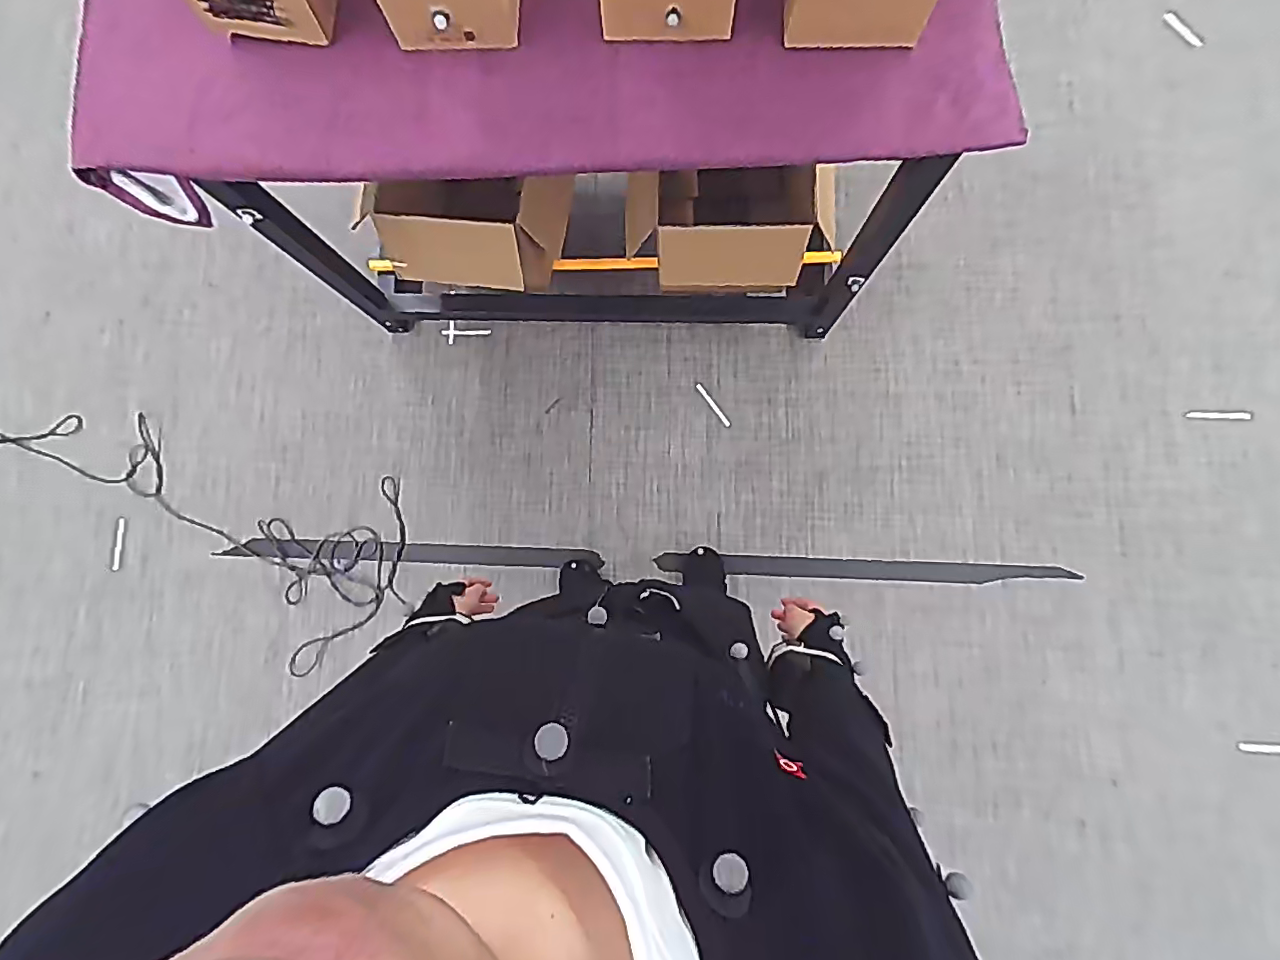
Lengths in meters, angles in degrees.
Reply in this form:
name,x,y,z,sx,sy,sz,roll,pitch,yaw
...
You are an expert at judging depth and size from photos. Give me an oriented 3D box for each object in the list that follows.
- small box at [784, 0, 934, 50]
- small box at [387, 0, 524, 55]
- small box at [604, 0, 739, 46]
name,x,y,z,sx,sy,sz,roll,pitch,yaw
small box,0.285,-0.673,0.665,0.179,0.176,0.168,2,81,2
small box,-0.248,-0.696,0.692,0.168,0.176,0.179,1,84,2
small box,0.040,-0.693,0.676,0.179,0.176,0.168,2,82,3
